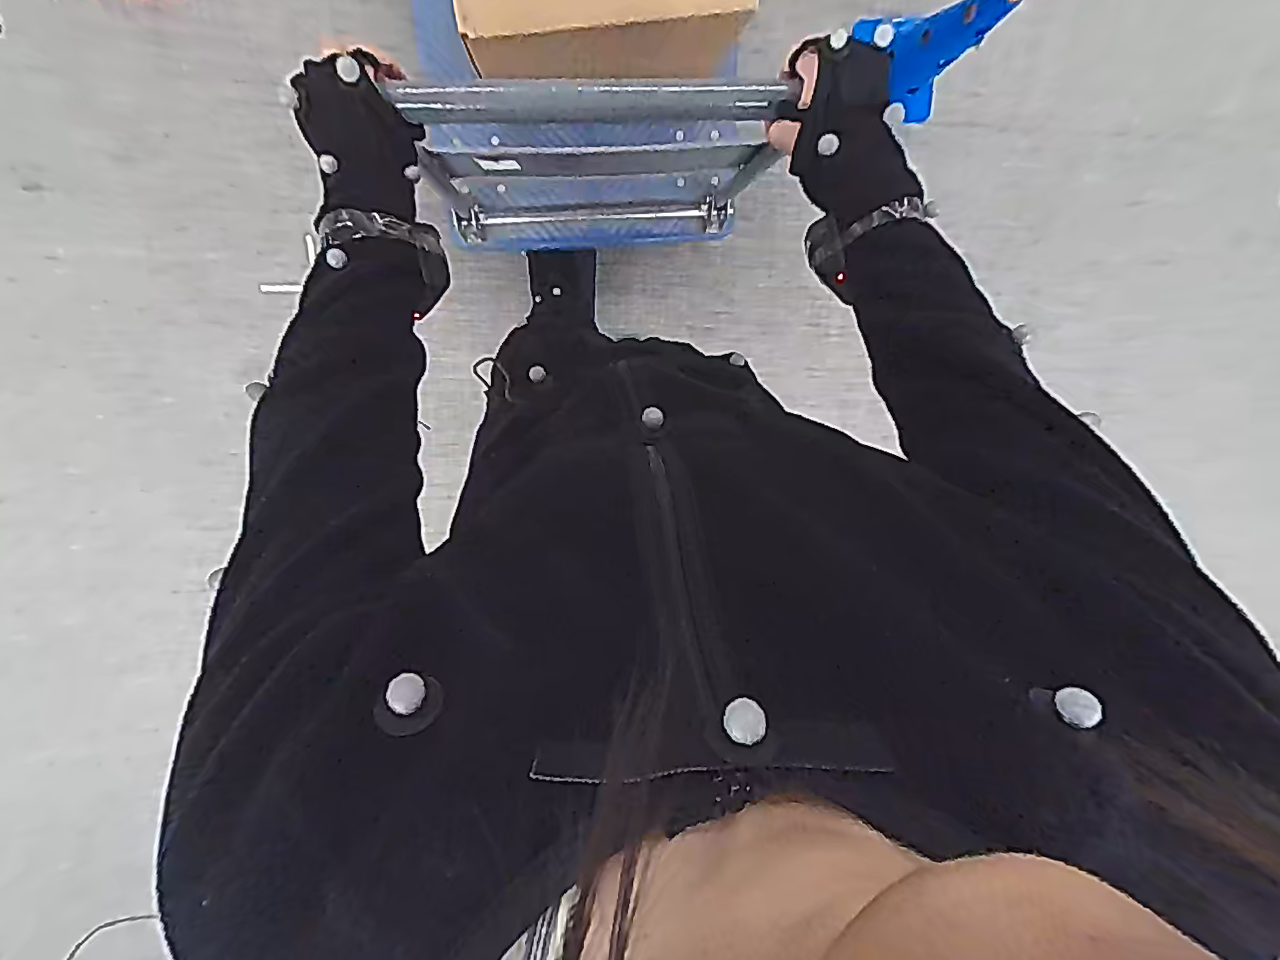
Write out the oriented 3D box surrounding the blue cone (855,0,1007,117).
[{"bbox_3d":[0.590,-0.867,1.049,0.193,0.380,0.192,-5,109,-6],"label":"blue cone"}]
